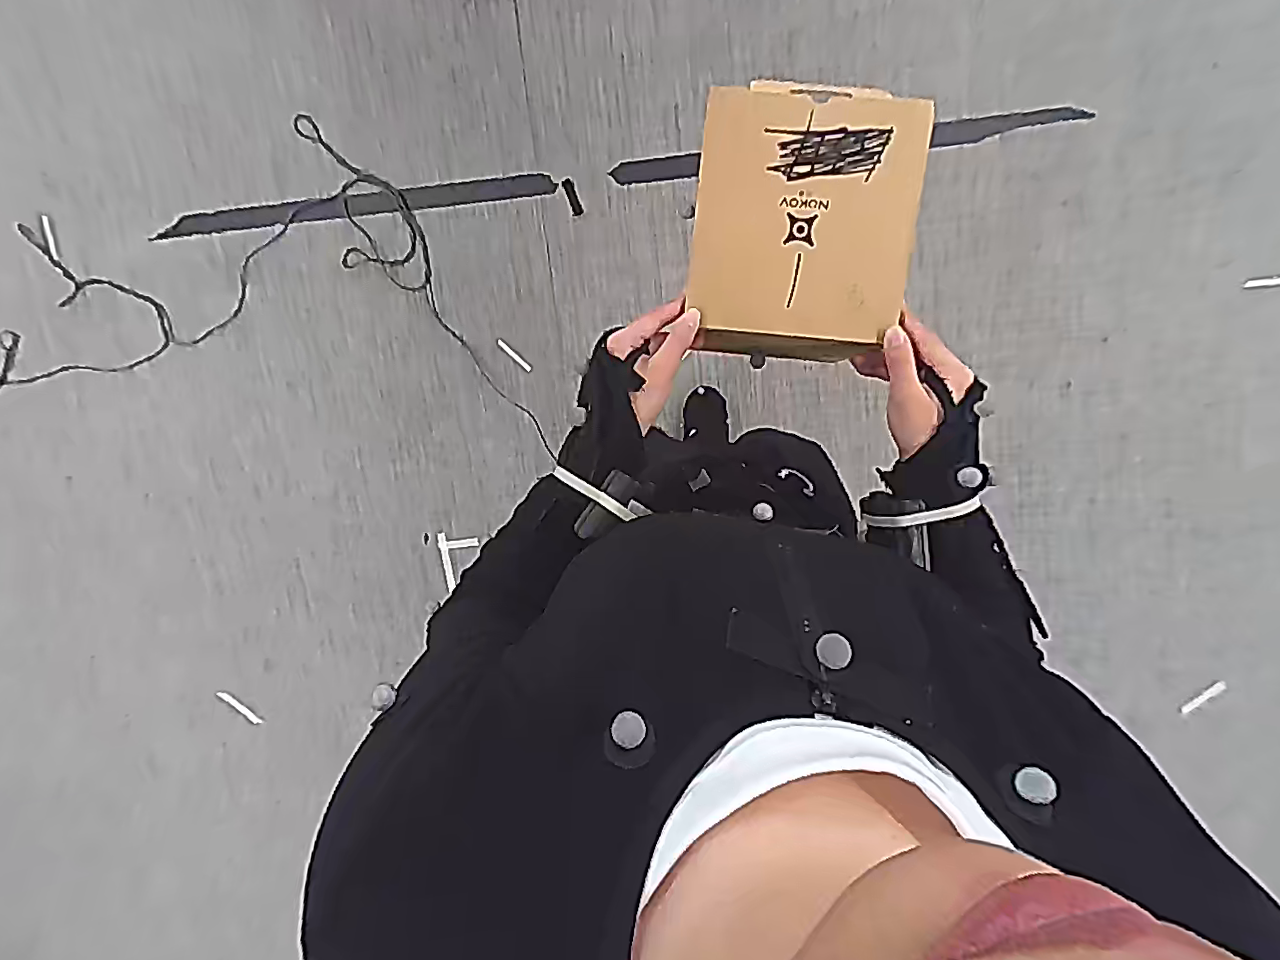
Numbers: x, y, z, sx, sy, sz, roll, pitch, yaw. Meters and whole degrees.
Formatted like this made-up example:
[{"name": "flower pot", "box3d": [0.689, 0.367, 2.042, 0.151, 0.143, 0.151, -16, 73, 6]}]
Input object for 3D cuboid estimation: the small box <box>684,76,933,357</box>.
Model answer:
[{"name": "small box", "box3d": [0.130, -0.215, 0.486, 0.168, 0.176, 0.179, 6, 98, 4]}]
